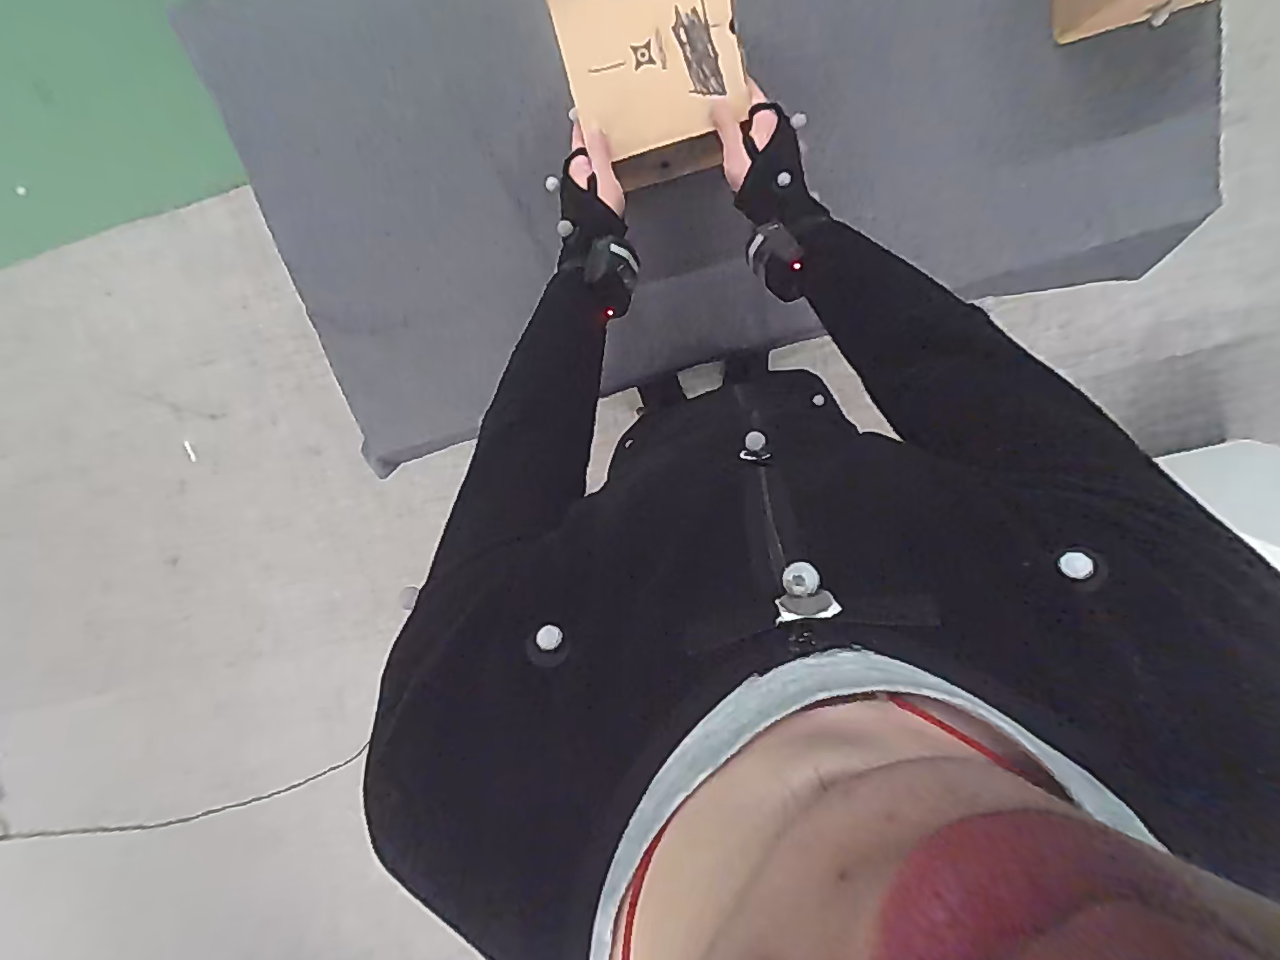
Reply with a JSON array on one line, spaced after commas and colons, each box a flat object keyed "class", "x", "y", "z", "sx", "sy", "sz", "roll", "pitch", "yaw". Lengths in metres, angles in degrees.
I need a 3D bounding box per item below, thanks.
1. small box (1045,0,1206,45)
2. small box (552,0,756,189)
[{"class": "small box", "x": 0.554, "y": -0.586, "z": 0.541, "sx": 0.179, "sy": 0.176, "sz": 0.168, "roll": -13, "pitch": 107, "yaw": 5}, {"class": "small box", "x": 0.015, "y": -0.444, "z": 0.596, "sx": 0.179, "sy": 0.176, "sz": 0.168, "roll": -13, "pitch": 107, "yaw": 6}]
